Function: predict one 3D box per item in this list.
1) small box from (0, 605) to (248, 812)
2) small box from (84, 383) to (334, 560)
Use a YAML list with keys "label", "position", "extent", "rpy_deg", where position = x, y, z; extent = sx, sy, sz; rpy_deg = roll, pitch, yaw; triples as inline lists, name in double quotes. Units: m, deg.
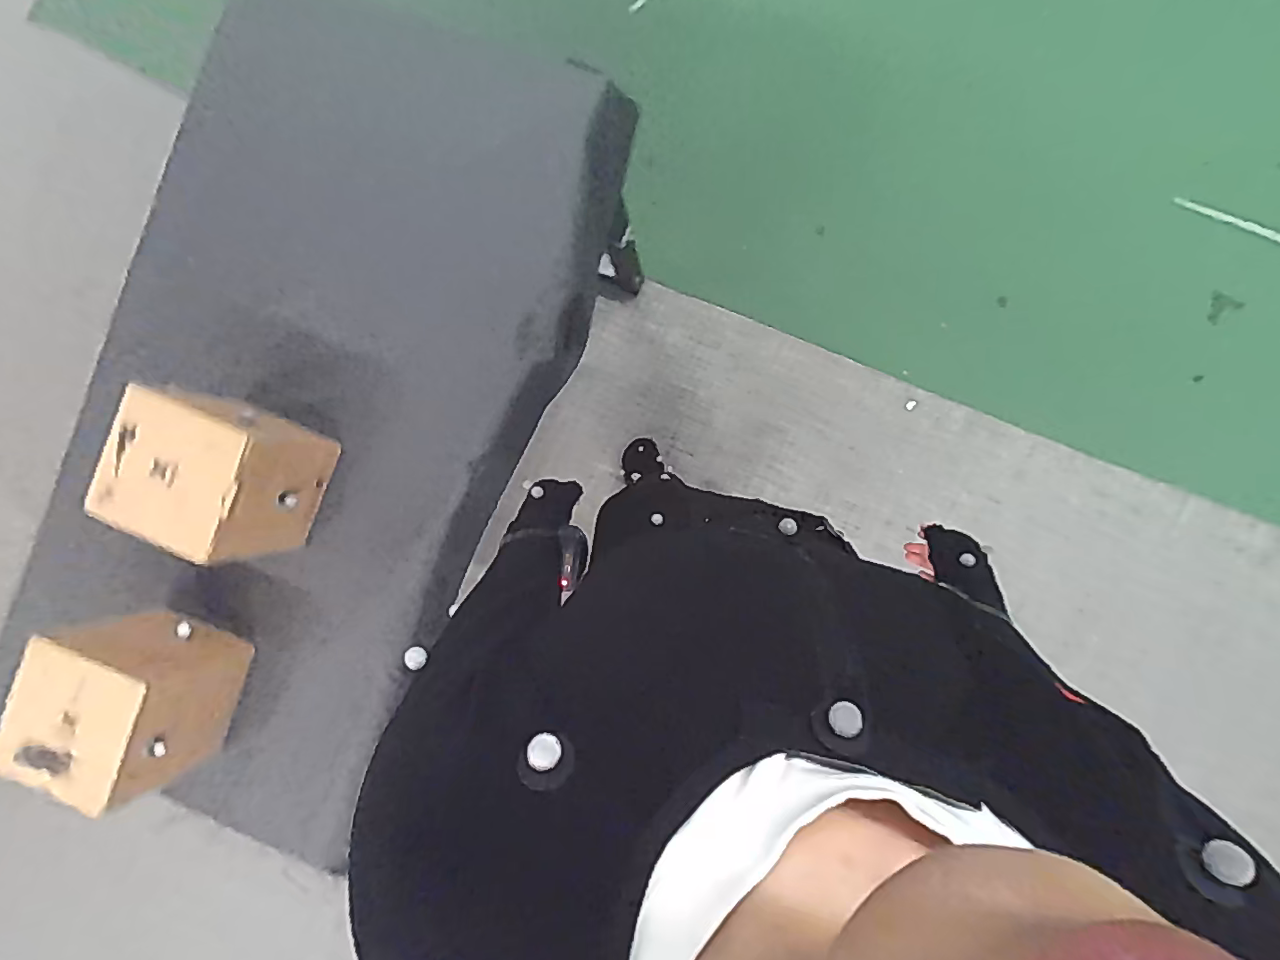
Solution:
- label: "small box"
  position: [-0.684, 0.292, 0.733]
  extent: [0.168, 0.176, 0.179]
  rpy_deg: [20, 91, 5]
- label: "small box"
  position: [-0.555, -0.013, 0.721]
  extent: [0.179, 0.176, 0.168]
  rpy_deg: [22, 92, 4]
